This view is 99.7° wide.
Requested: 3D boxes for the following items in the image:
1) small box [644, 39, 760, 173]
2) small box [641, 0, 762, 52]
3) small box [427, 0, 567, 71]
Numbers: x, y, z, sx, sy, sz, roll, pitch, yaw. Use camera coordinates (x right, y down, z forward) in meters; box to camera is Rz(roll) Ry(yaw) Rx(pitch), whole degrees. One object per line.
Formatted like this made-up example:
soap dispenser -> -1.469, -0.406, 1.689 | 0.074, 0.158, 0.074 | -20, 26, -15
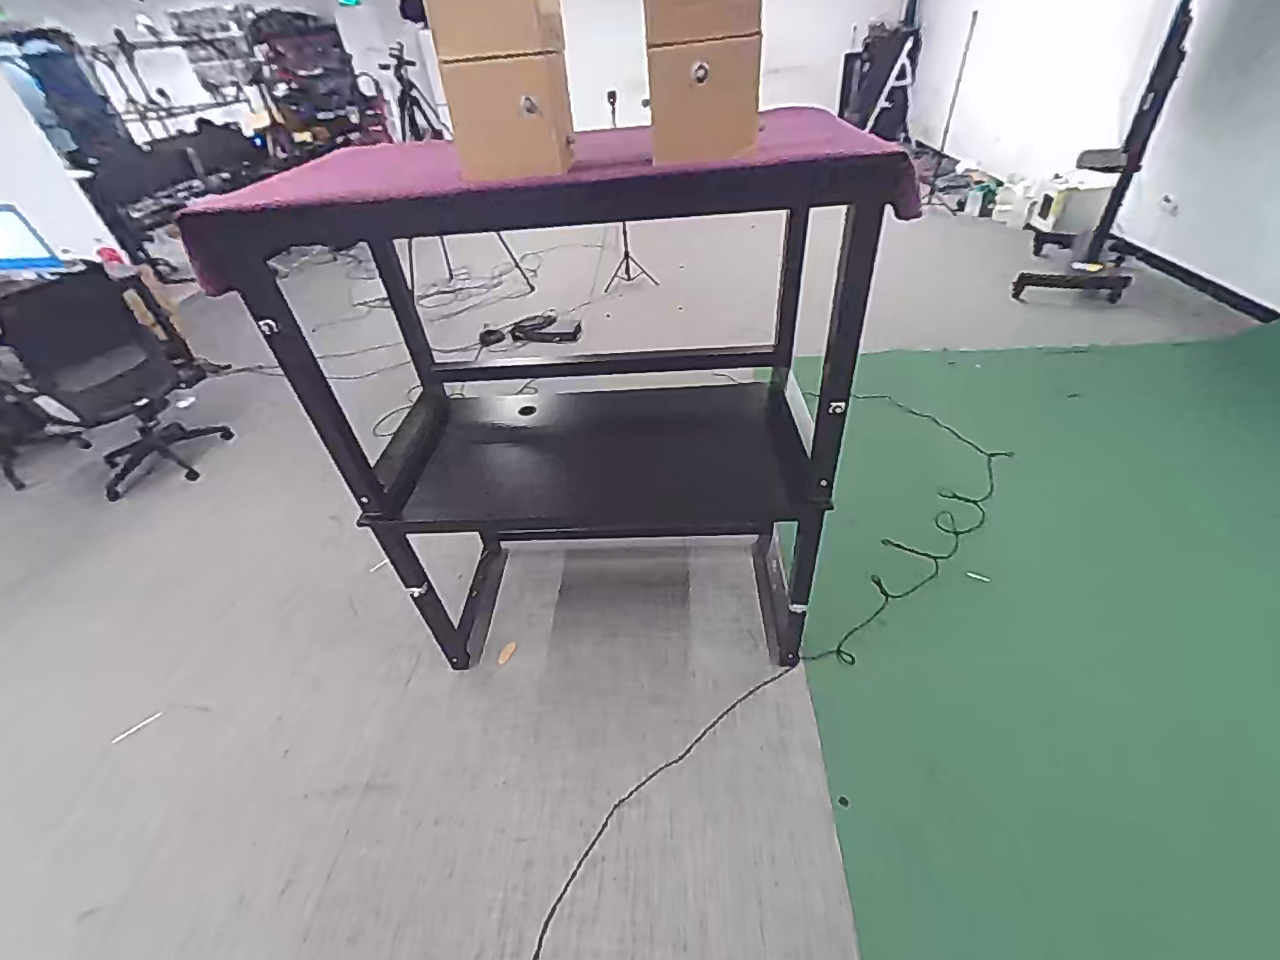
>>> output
small box -> 0.106, -0.632, 0.916 | 0.179, 0.176, 0.168 | 0, 41, 7
small box -> 0.092, -0.756, 0.813 | 0.179, 0.176, 0.168 | 0, 41, 7
small box -> -0.225, -0.750, 0.841 | 0.179, 0.176, 0.168 | -1, 39, 6
